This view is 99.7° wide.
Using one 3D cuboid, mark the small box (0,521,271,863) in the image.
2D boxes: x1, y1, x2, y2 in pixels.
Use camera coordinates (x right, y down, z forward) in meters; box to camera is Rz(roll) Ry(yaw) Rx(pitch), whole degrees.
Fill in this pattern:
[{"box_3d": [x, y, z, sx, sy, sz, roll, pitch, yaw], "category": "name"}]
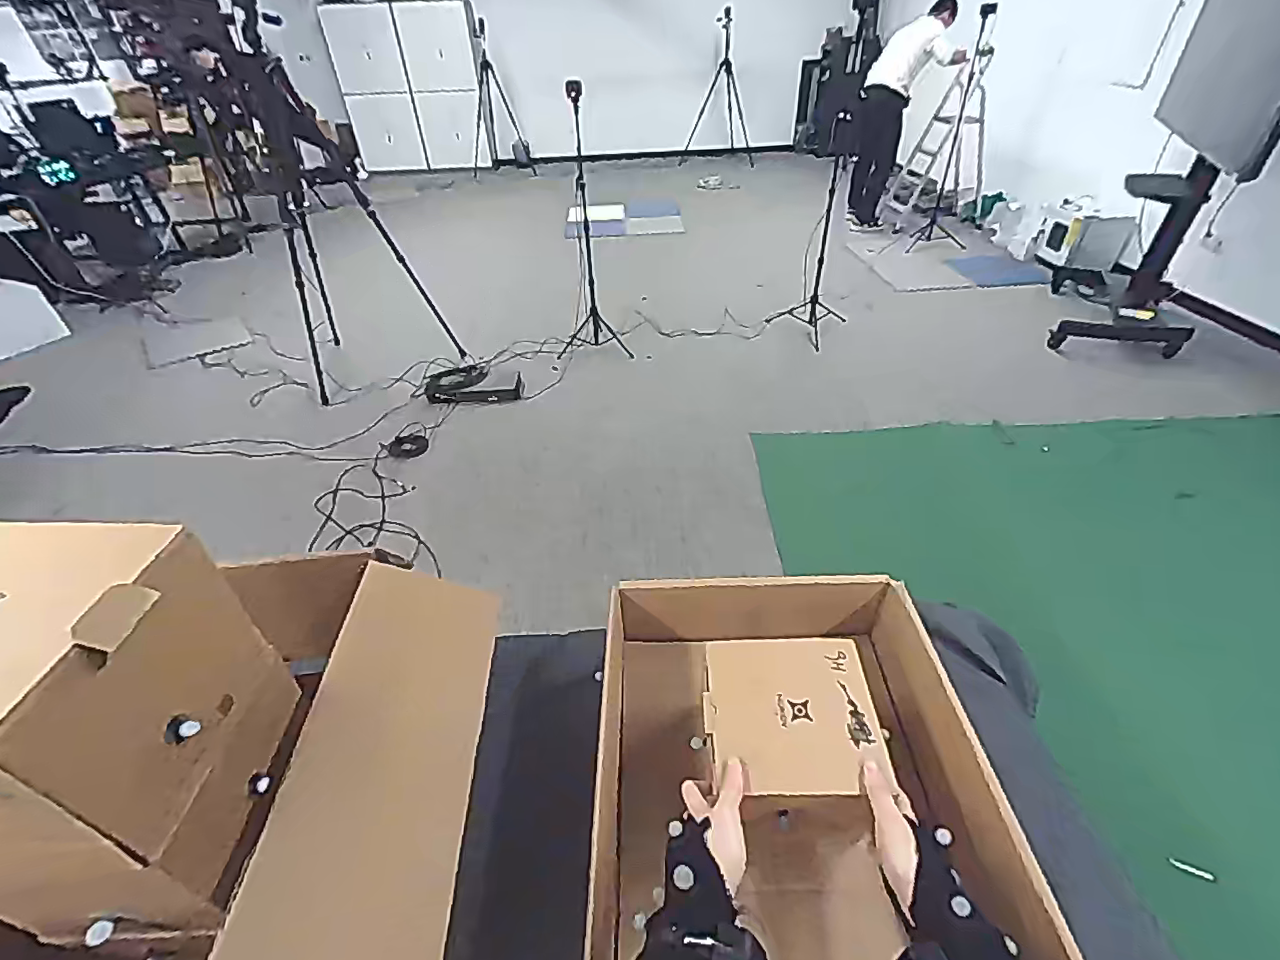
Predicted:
[{"box_3d": [-0.411, 0.145, 0.378, 0.179, 0.176, 0.168, 1, 38, -3], "category": "small box"}]
